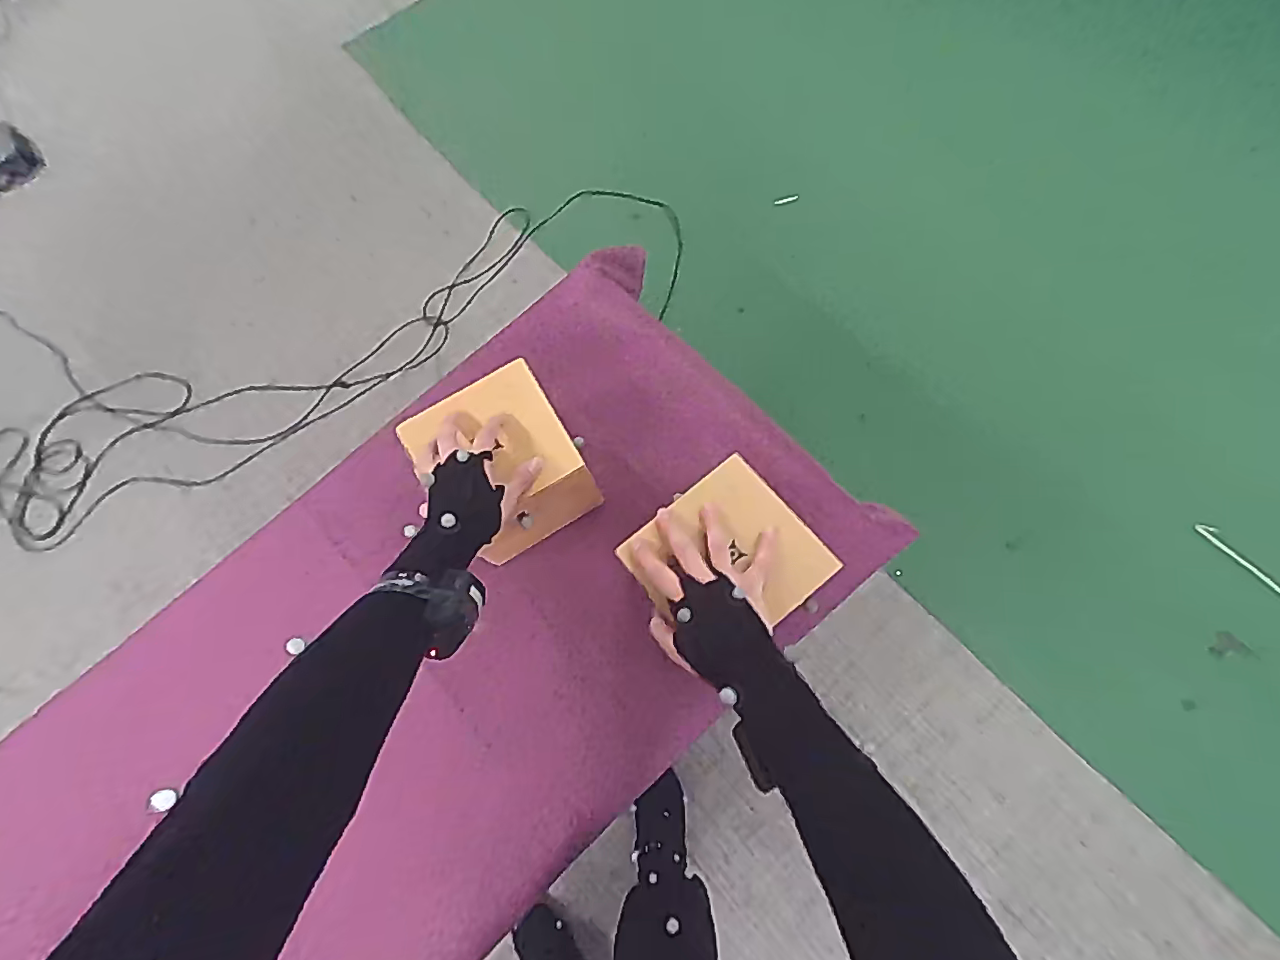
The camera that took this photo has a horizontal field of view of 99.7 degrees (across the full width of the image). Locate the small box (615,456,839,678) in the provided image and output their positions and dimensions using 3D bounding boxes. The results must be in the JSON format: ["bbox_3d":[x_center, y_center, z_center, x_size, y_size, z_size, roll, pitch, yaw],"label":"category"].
[{"bbox_3d":[0.094,0.106,0.634,0.179,0.176,0.168,-38,73,-6],"label":"small box"}]

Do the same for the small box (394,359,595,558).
[{"bbox_3d":[-0.171,-0.018,0.700,0.179,0.176,0.168,-32,74,-3],"label":"small box"}]
